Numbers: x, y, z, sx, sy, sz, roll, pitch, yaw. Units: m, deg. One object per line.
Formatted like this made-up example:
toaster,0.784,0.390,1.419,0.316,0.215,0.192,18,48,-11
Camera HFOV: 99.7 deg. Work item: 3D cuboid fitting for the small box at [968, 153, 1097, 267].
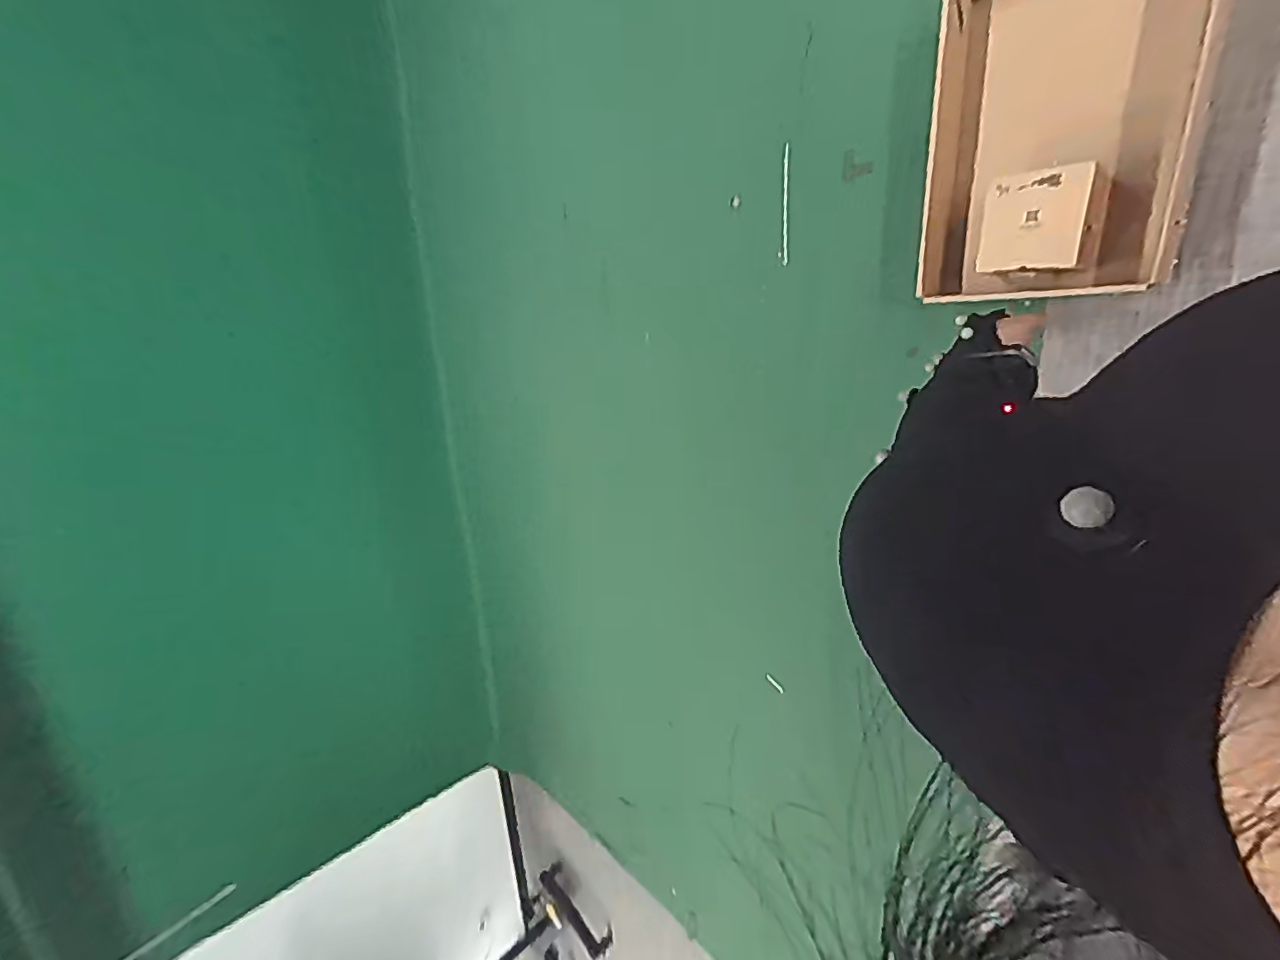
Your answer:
small box,0.771,-0.516,1.061,0.168,0.176,0.179,14,114,42
